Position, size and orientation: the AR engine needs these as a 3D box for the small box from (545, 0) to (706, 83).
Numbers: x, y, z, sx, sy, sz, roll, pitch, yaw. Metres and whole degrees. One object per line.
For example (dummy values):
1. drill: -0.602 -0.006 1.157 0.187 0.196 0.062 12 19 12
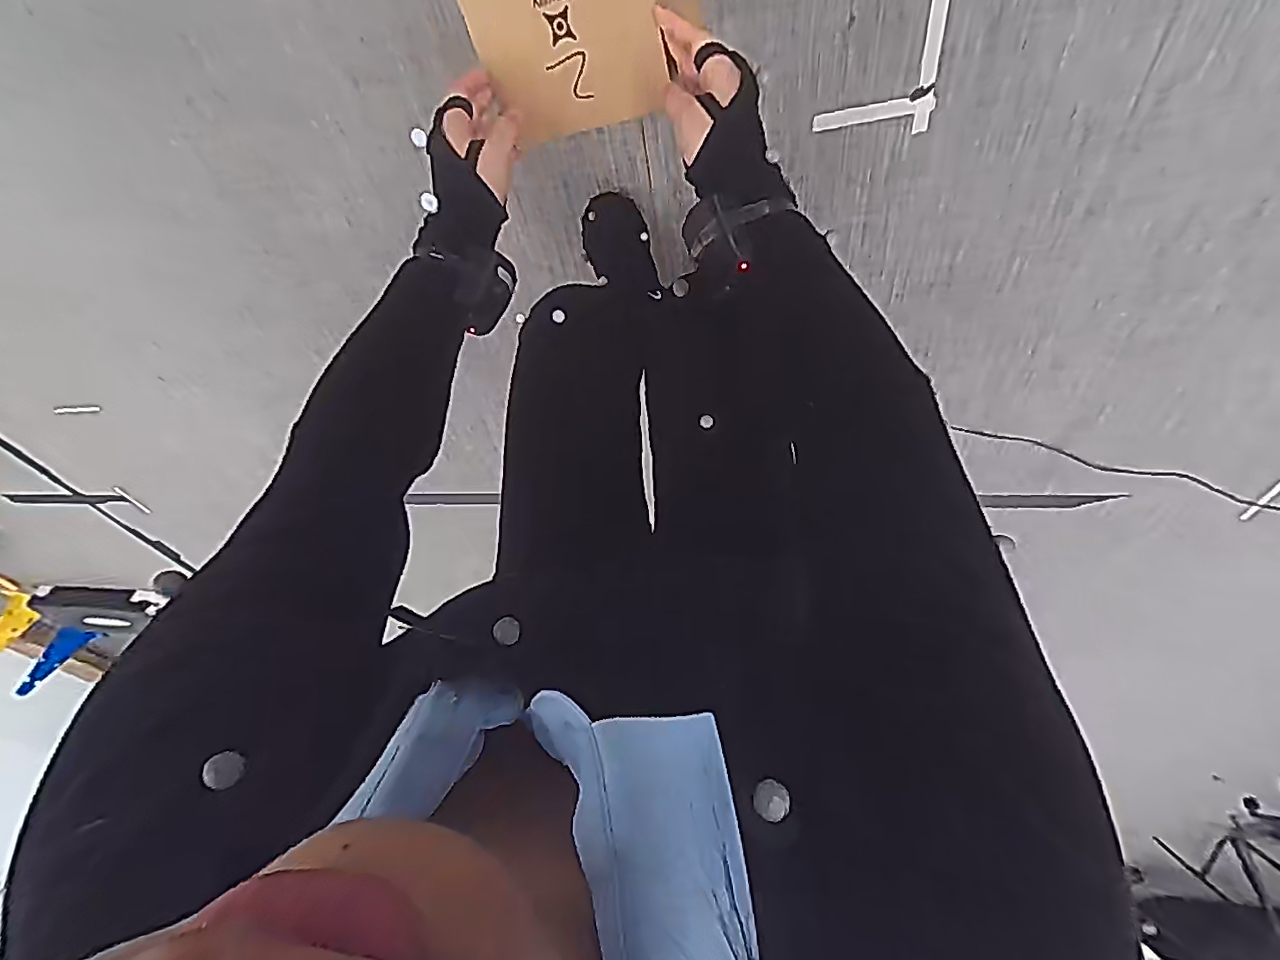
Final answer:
1. small box: -0.016 -0.583 0.604 0.168 0.176 0.179 -2 139 12
